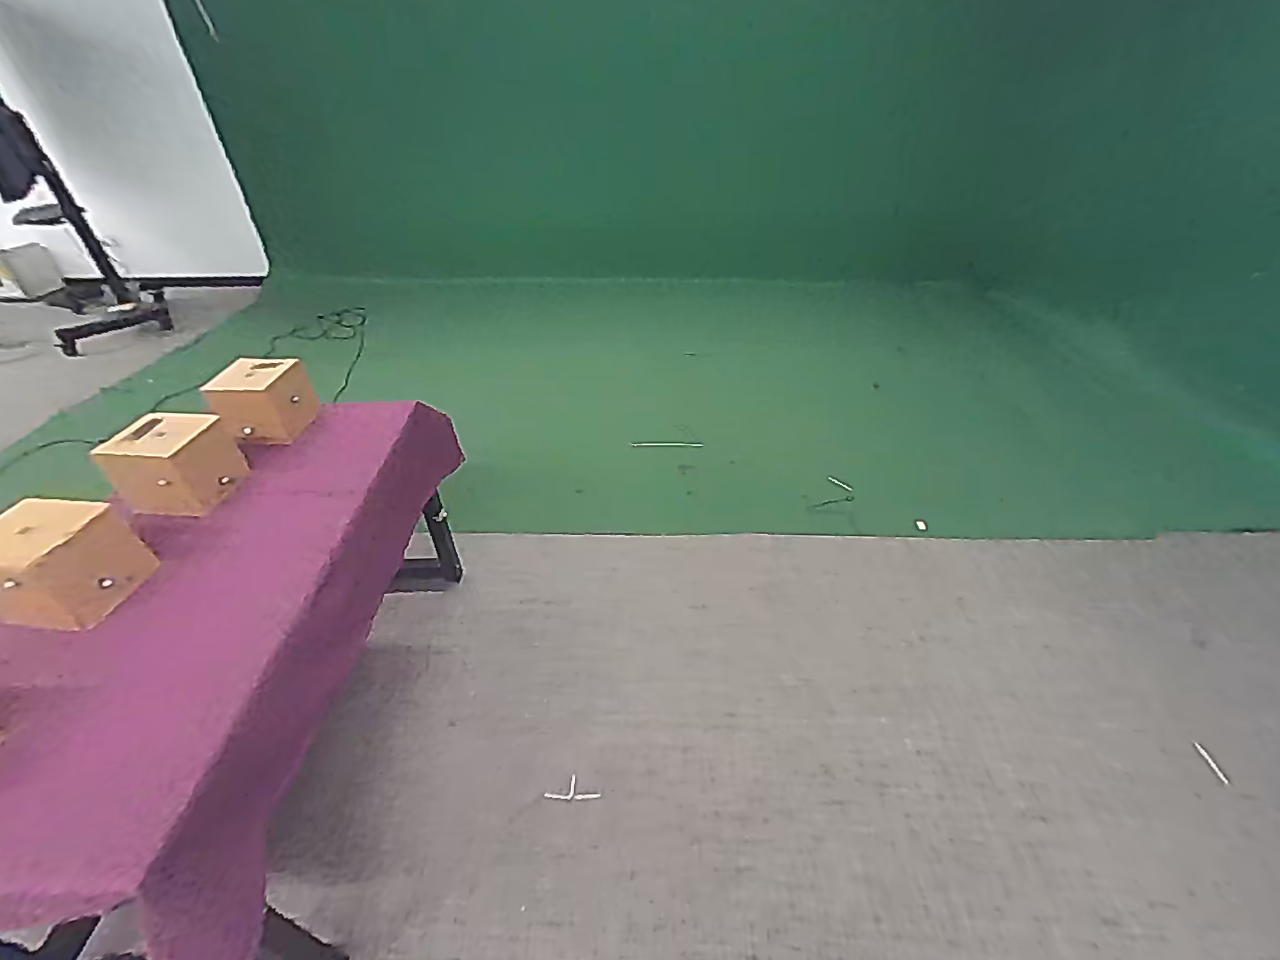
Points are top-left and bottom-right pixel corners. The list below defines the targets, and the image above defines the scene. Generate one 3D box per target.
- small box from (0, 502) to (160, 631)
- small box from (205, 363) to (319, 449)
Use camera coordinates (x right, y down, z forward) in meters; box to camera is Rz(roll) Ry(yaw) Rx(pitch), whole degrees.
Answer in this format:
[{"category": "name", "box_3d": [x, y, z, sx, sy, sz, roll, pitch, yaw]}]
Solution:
[{"category": "small box", "box_3d": [-1.067, 0.160, 0.998, 0.179, 0.176, 0.168, 4, 38, 4]}, {"category": "small box", "box_3d": [-1.004, -0.203, 1.460, 0.168, 0.176, 0.179, 0, 39, 1]}]
